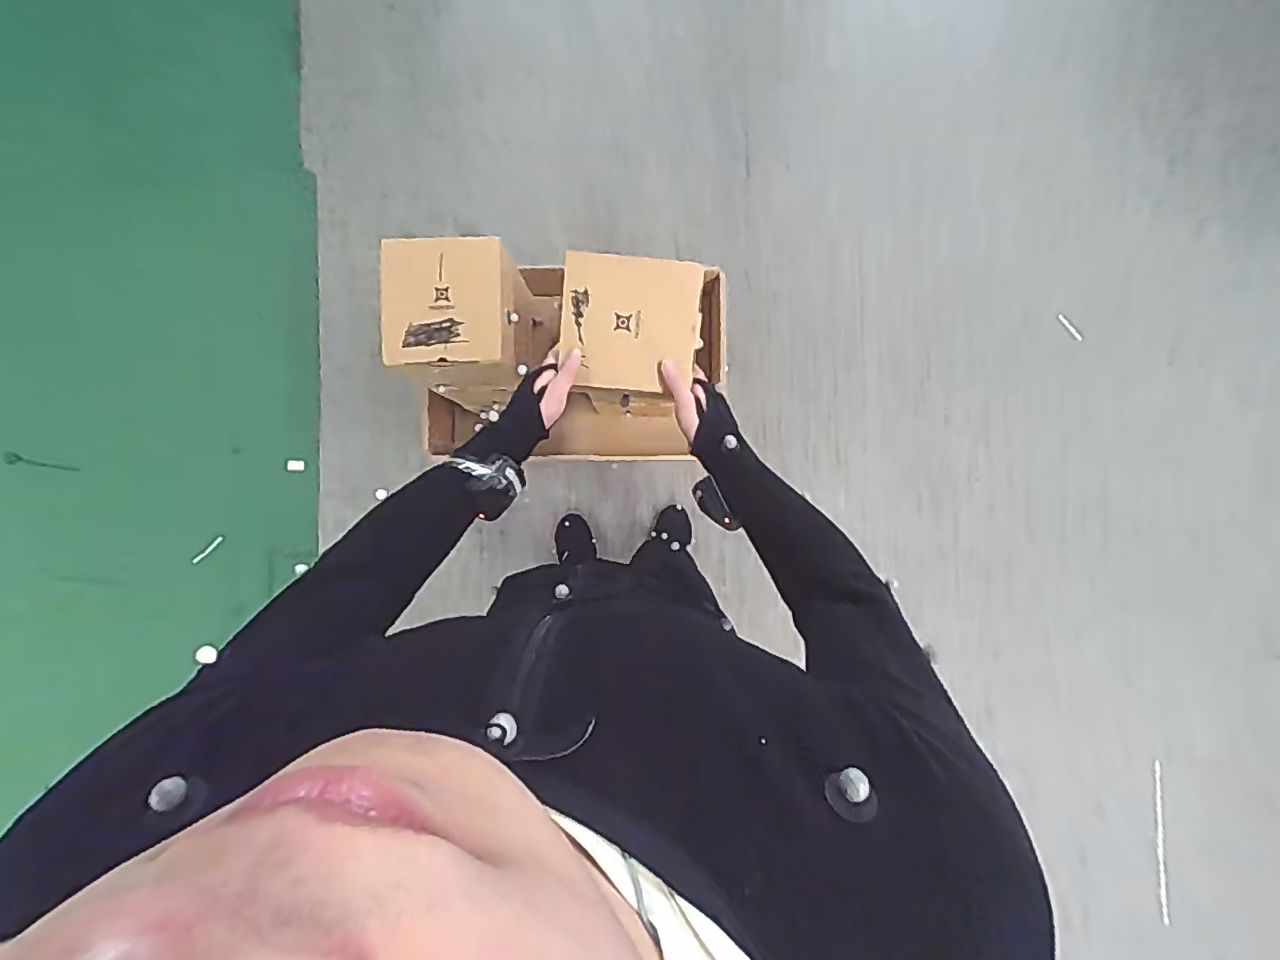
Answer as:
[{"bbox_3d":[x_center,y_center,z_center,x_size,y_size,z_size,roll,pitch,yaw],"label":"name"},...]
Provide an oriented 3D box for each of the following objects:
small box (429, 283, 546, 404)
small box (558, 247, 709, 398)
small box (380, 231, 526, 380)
[{"bbox_3d":[-0.266,-0.239,0.972,0.168,0.176,0.179,0,89,0],"label":"small box"},{"bbox_3d":[-0.010,-0.204,0.748,0.179,0.176,0.168,5,96,-1],"label":"small box"},{"bbox_3d":[-0.268,-0.247,0.808,0.168,0.176,0.179,-2,88,-1],"label":"small box"}]
